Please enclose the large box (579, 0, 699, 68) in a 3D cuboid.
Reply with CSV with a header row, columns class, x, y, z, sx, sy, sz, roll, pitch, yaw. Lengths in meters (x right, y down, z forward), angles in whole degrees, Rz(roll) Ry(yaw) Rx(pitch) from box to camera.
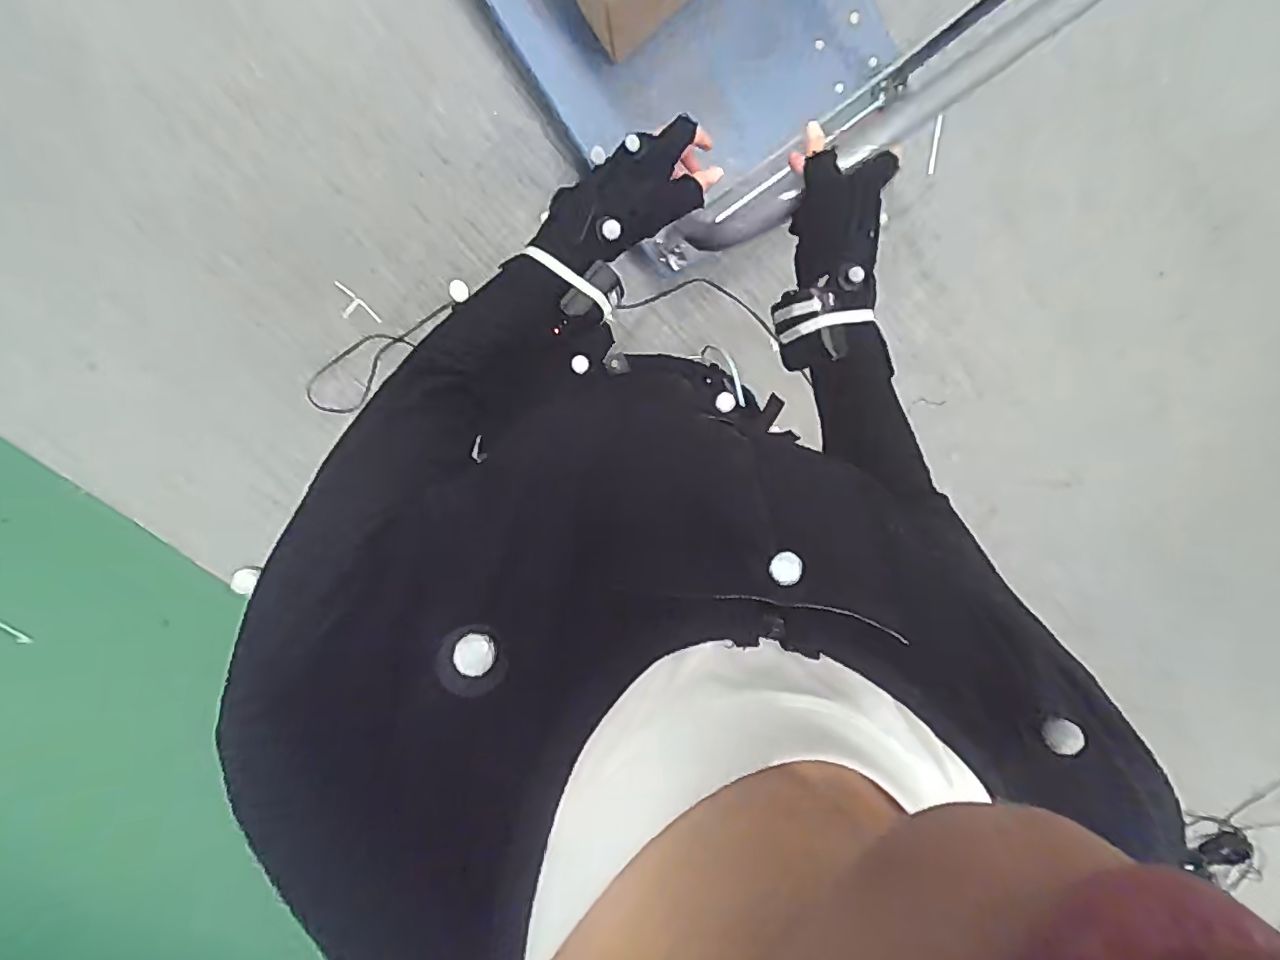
class,x,y,z,sx,sy,sz,roll,pitch,yaw
large box,0.034,-0.931,0.786,0.408,0.320,0.320,-34,107,15
